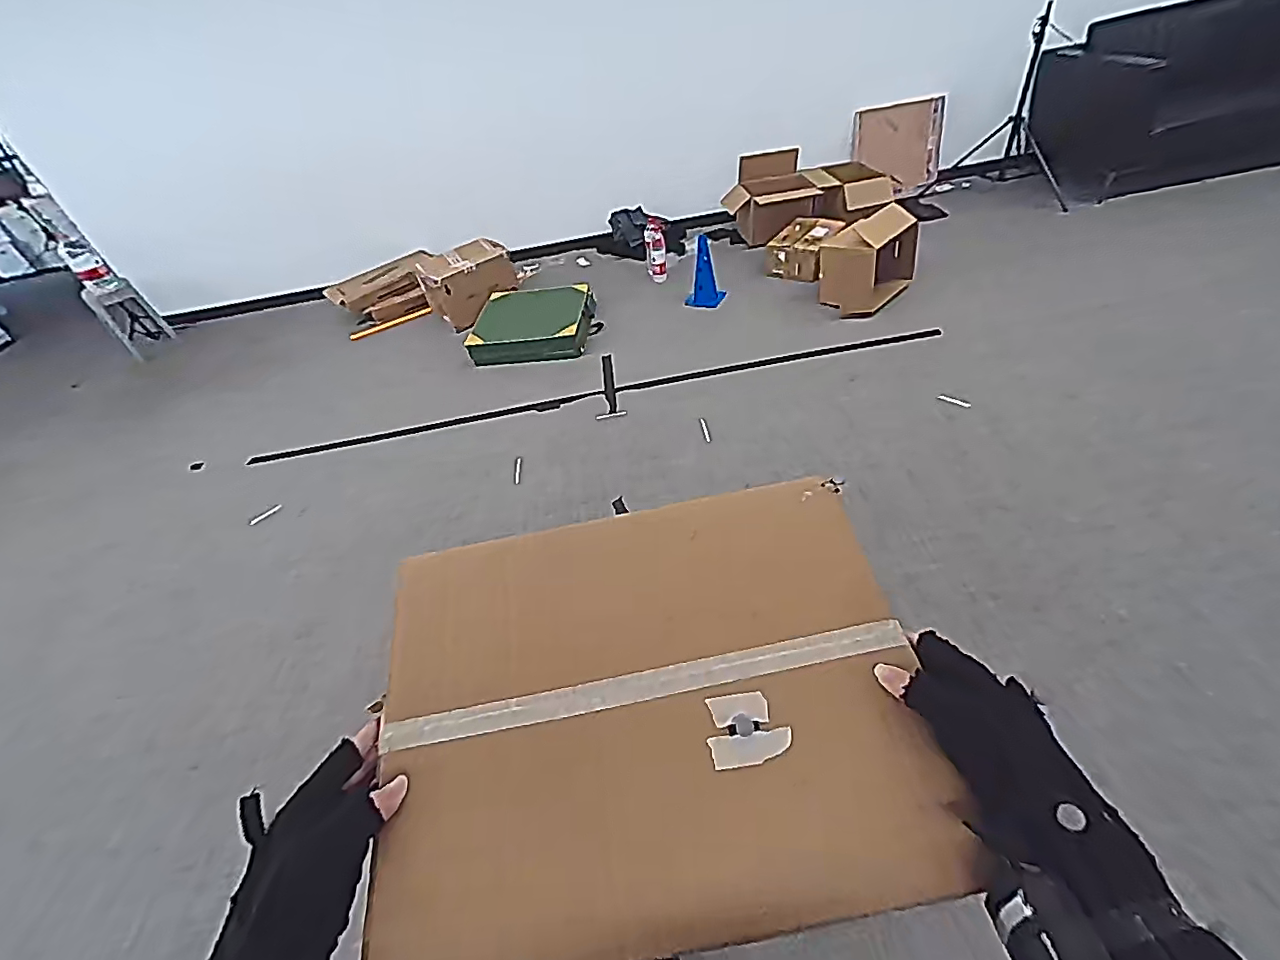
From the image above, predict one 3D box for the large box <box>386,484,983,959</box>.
[{"bbox_3d":[0.020,0.250,0.552,0.408,0.320,0.320,-11,55,0],"label":"large box"}]
